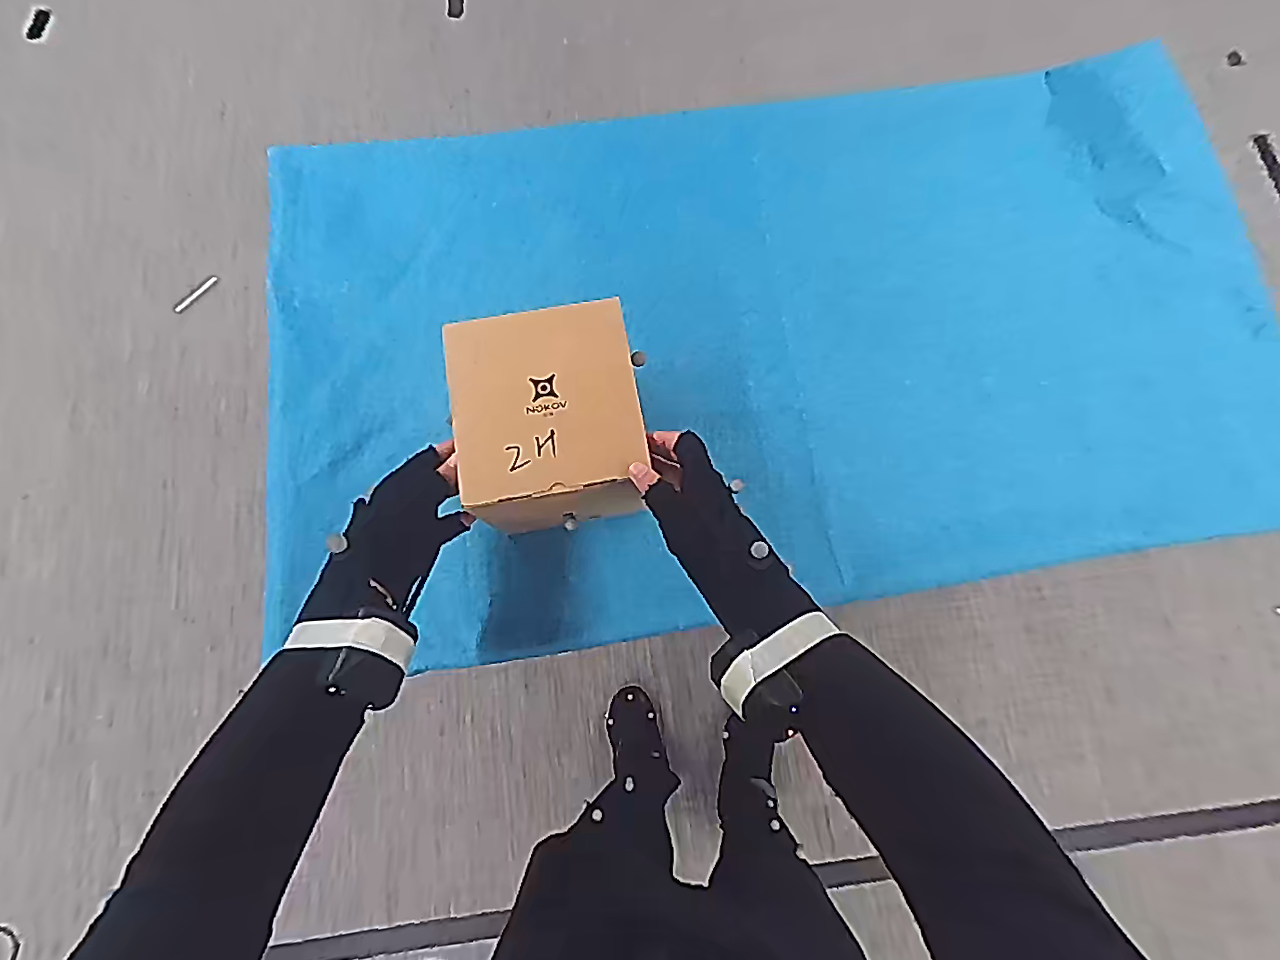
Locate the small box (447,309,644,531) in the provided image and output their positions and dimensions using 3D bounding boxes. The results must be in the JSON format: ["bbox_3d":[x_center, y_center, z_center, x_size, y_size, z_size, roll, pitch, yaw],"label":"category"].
[{"bbox_3d":[-0.087,-0.050,0.556,0.168,0.176,0.179,-7,79,-1],"label":"small box"}]
